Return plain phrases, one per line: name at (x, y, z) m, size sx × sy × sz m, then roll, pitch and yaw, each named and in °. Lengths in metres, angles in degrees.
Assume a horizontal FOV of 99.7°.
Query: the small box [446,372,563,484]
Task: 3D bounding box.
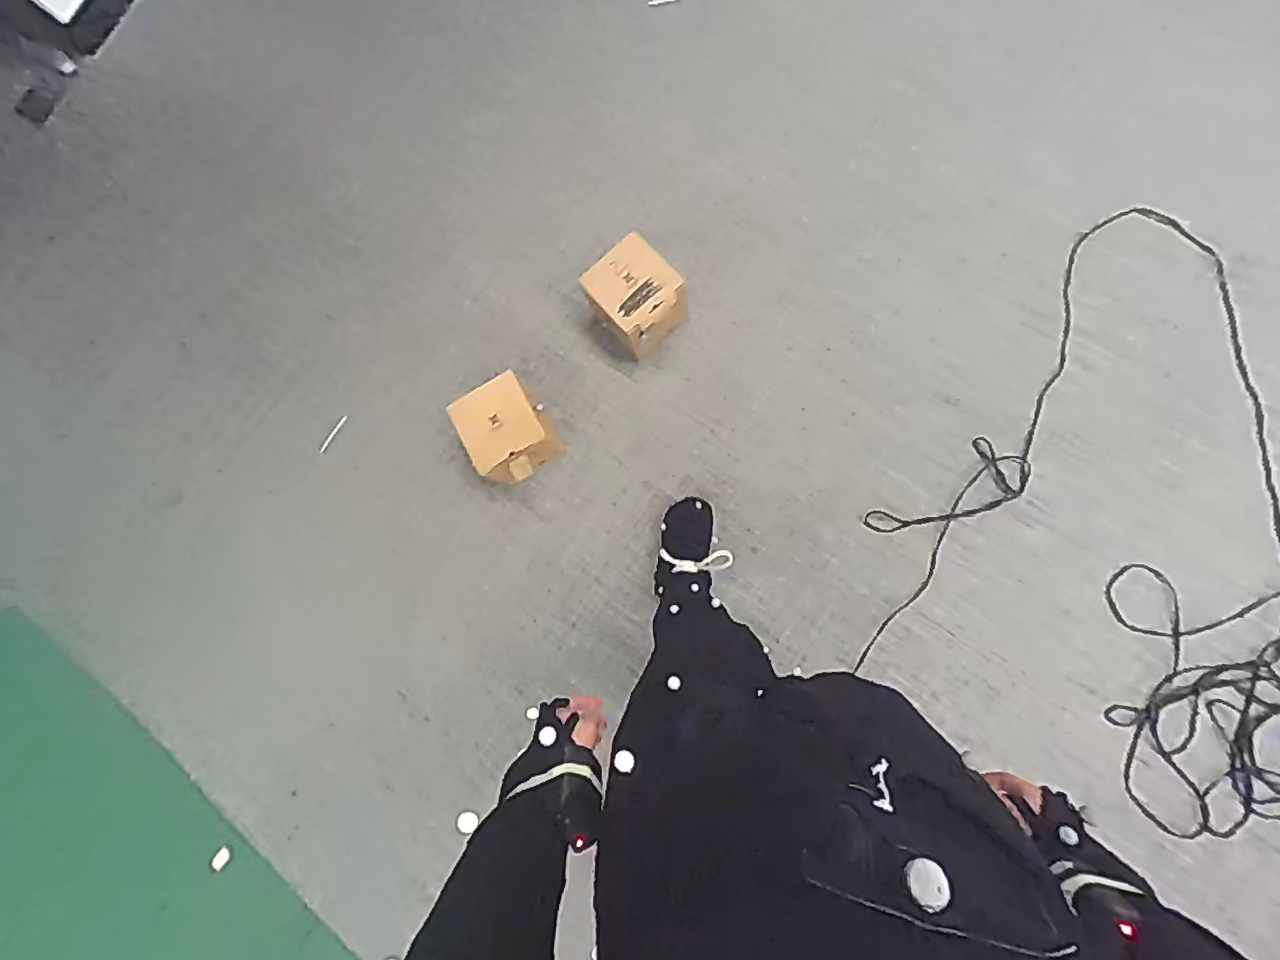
small box at (-0.298, -0.109, 1.218) m, size 0.168 × 0.176 × 0.179 m, roll -30°, pitch 80°, yaw 2°
